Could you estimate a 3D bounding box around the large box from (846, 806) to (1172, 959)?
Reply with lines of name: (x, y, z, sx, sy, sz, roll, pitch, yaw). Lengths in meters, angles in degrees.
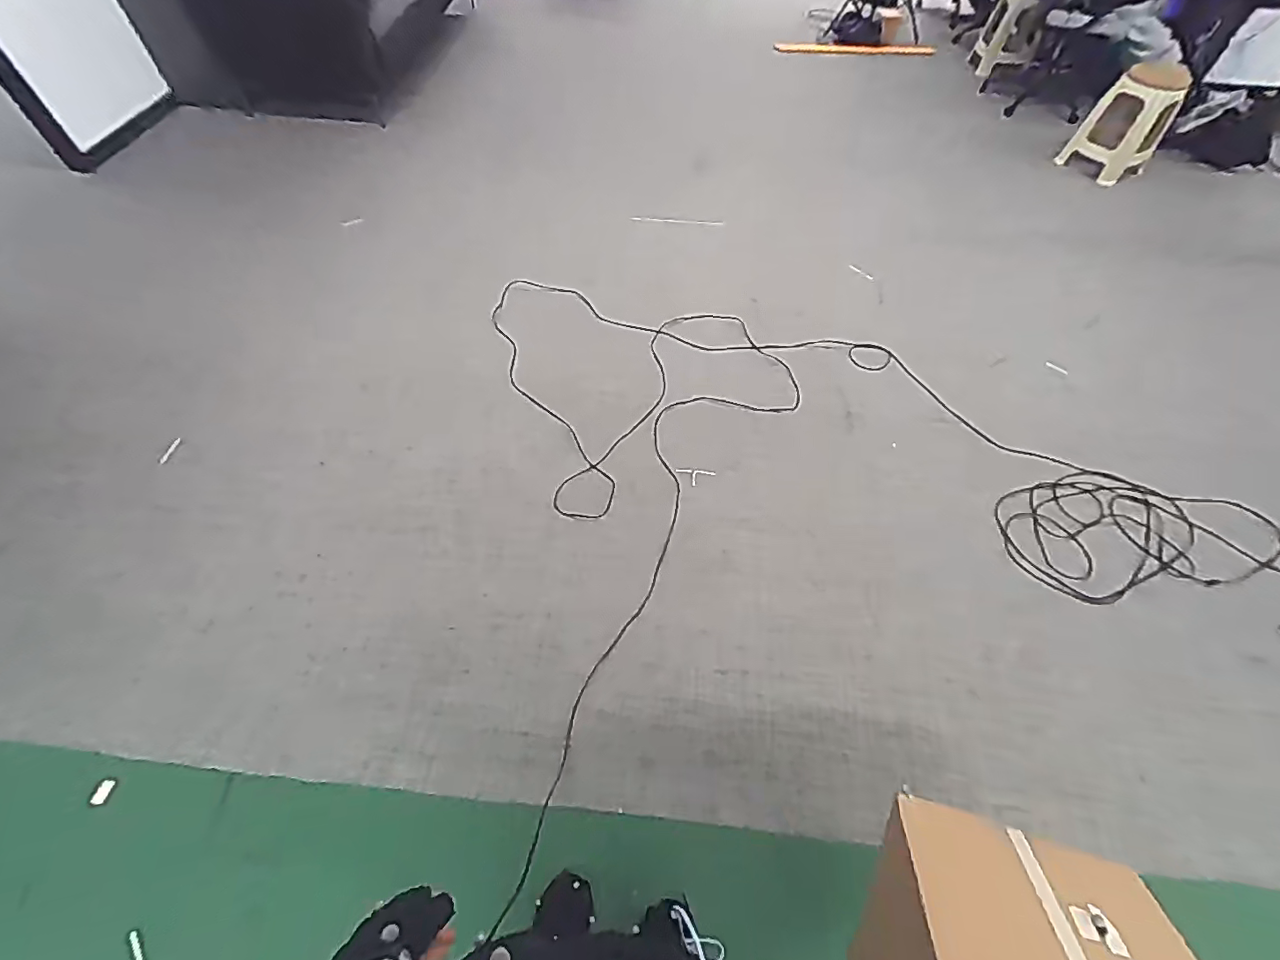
large box: (0.451, 0.703, 0.633, 0.320, 0.320, 0.408, 14, 12, 13)
